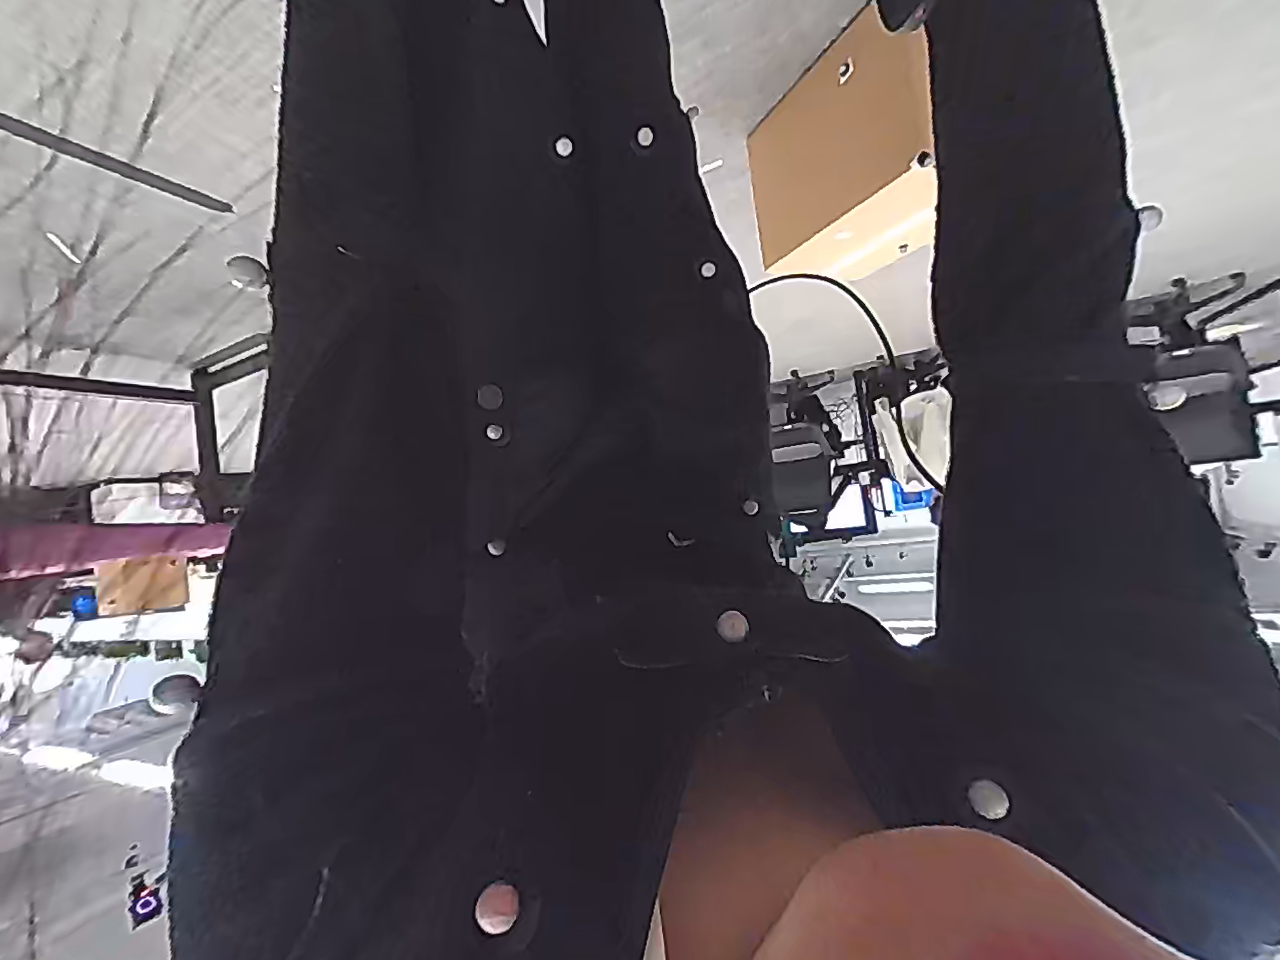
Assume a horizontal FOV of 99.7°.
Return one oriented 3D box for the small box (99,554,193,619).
[{"bbox_3d":[-1.553,0.328,1.694,0.179,0.176,0.168,-8,177,25],"label":"small box"}]
